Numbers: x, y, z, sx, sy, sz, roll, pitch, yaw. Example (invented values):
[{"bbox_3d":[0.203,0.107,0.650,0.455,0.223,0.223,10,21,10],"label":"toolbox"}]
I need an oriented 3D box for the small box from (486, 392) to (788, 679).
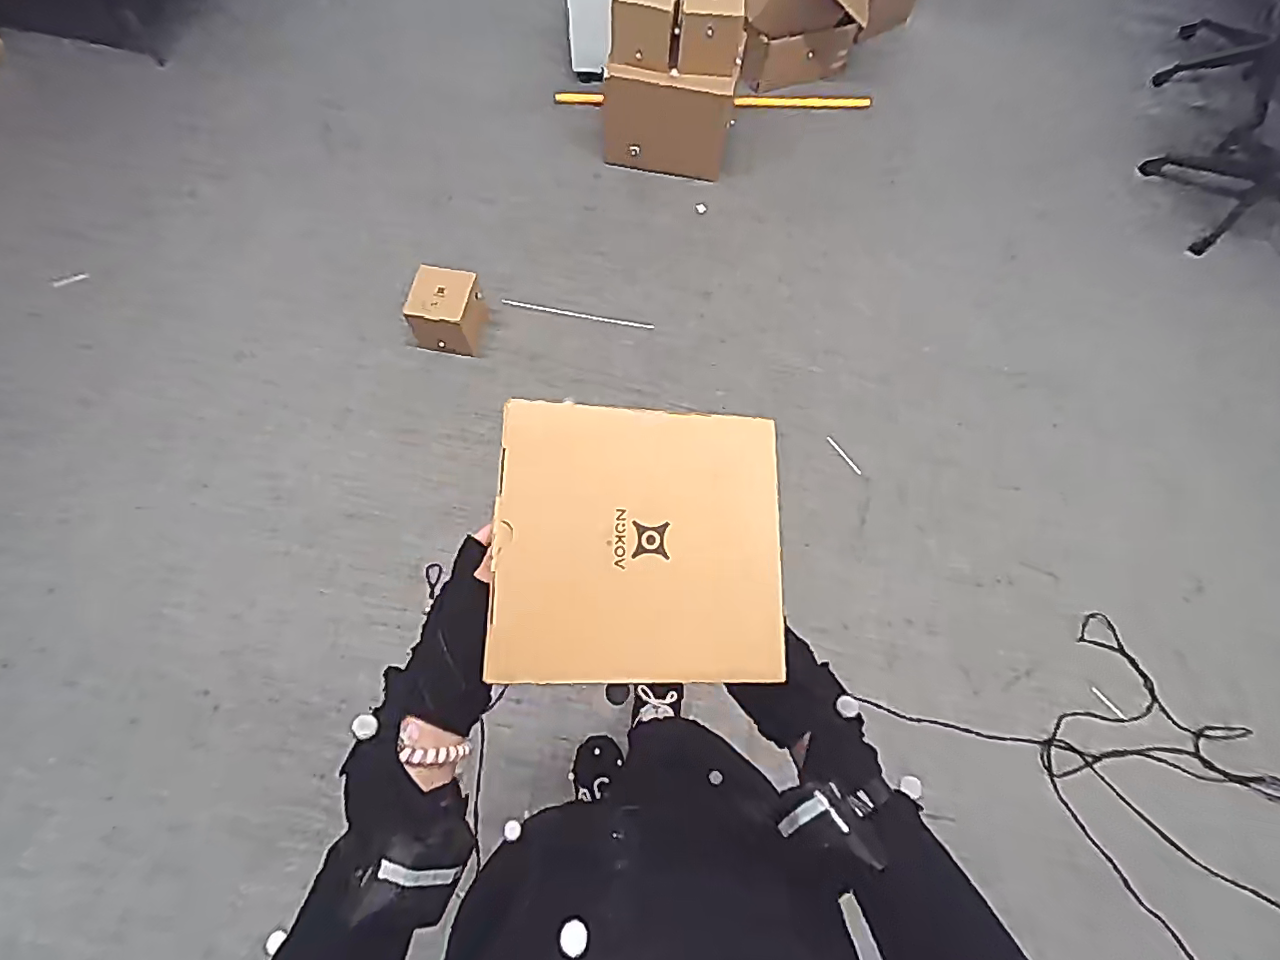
[{"bbox_3d":[-0.009,0.048,0.397,0.179,0.176,0.168,3,77,-9],"label":"small box"}]

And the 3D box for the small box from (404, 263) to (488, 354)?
[{"bbox_3d":[-0.558,-0.498,1.581,0.168,0.176,0.179,10,70,2],"label":"small box"}]
